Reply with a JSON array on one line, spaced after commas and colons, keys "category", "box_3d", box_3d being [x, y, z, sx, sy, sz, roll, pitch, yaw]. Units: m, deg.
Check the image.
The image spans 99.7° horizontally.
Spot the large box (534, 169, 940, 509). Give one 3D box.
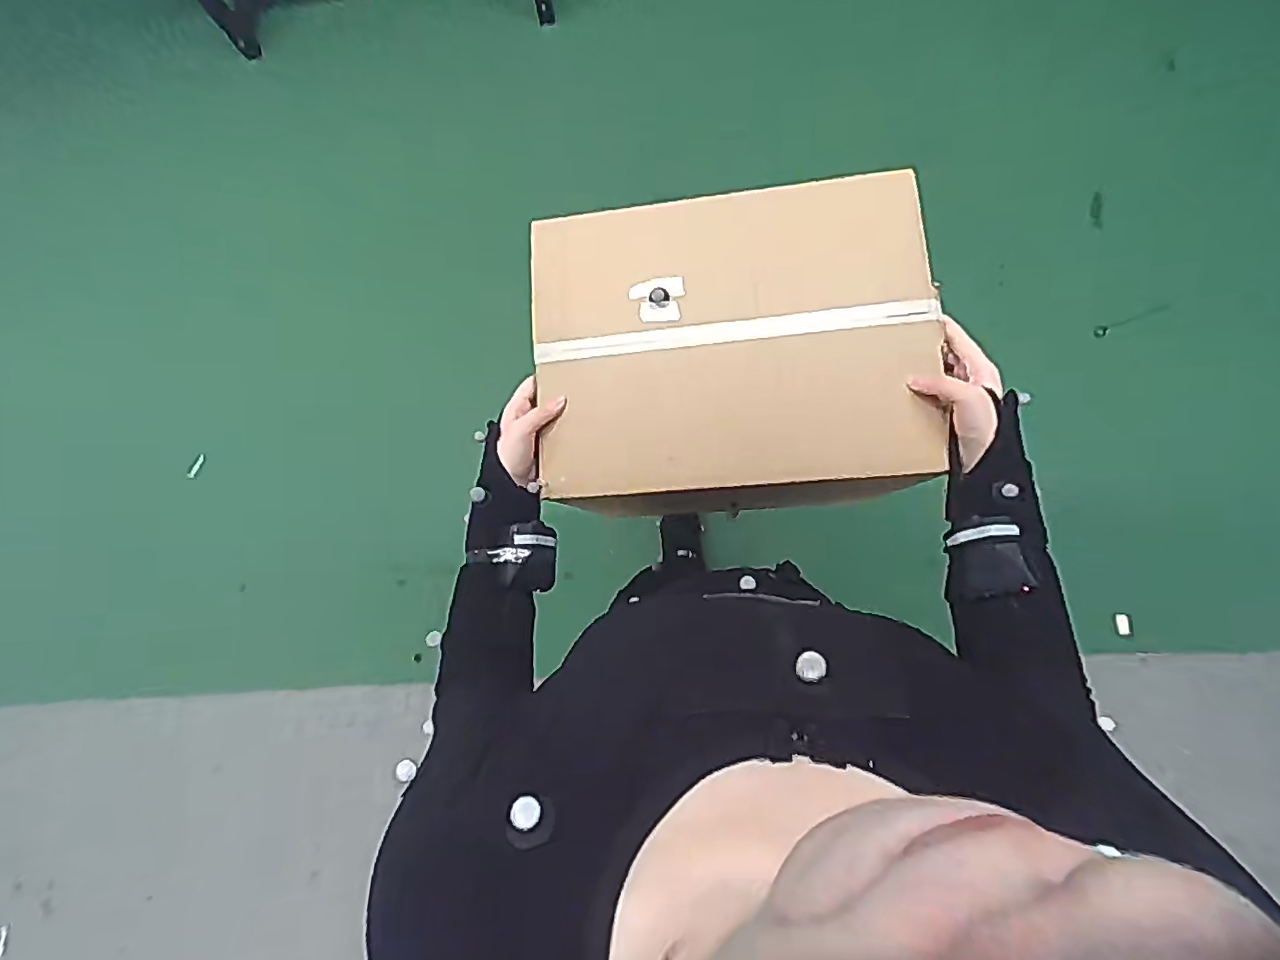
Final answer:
[{"category": "large box", "box_3d": [0.110, -0.136, 0.711, 0.408, 0.320, 0.320, -4, 81, 9]}]
